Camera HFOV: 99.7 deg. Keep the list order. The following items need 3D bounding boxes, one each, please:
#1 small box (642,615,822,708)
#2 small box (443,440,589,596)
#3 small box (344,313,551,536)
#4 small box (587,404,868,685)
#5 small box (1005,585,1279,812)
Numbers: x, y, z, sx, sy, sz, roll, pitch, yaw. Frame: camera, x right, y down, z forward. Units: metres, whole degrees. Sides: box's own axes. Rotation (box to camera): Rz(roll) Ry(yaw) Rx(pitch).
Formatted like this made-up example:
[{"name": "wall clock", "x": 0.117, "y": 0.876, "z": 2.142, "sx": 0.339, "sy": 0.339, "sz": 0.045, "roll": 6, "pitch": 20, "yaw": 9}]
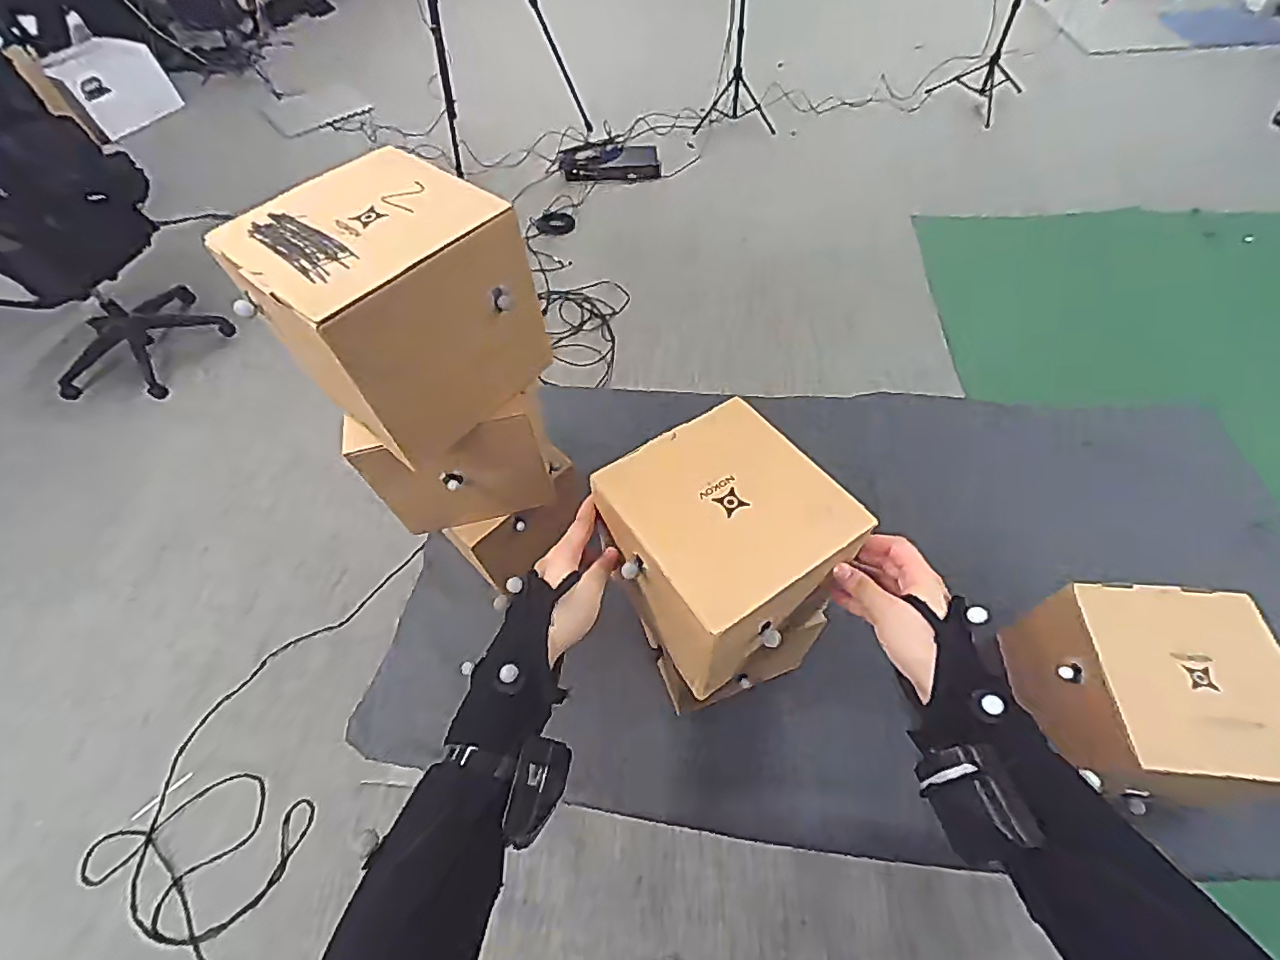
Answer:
[{"name": "small box", "x": 0.088, "y": 0.155, "z": 0.649, "sx": 0.168, "sy": 0.176, "sz": 0.179, "roll": -19, "pitch": 55, "yaw": -9}, {"name": "small box", "x": -0.195, "y": 0.031, "z": 0.759, "sx": 0.179, "sy": 0.176, "sz": 0.168, "roll": 38, "pitch": 67, "yaw": 26}, {"name": "small box", "x": -0.207, "y": -0.057, "z": 0.620, "sx": 0.179, "sy": 0.176, "sz": 0.168, "roll": -14, "pitch": 57, "yaw": -4}, {"name": "small box", "x": 0.072, "y": 0.068, "z": 0.508, "sx": 0.168, "sy": 0.176, "sz": 0.179, "roll": -29, "pitch": 56, "yaw": -17}, {"name": "small box", "x": 0.519, "y": 0.228, "z": 0.560, "sx": 0.168, "sy": 0.176, "sz": 0.179, "roll": 2, "pitch": 55, "yaw": 8}]
